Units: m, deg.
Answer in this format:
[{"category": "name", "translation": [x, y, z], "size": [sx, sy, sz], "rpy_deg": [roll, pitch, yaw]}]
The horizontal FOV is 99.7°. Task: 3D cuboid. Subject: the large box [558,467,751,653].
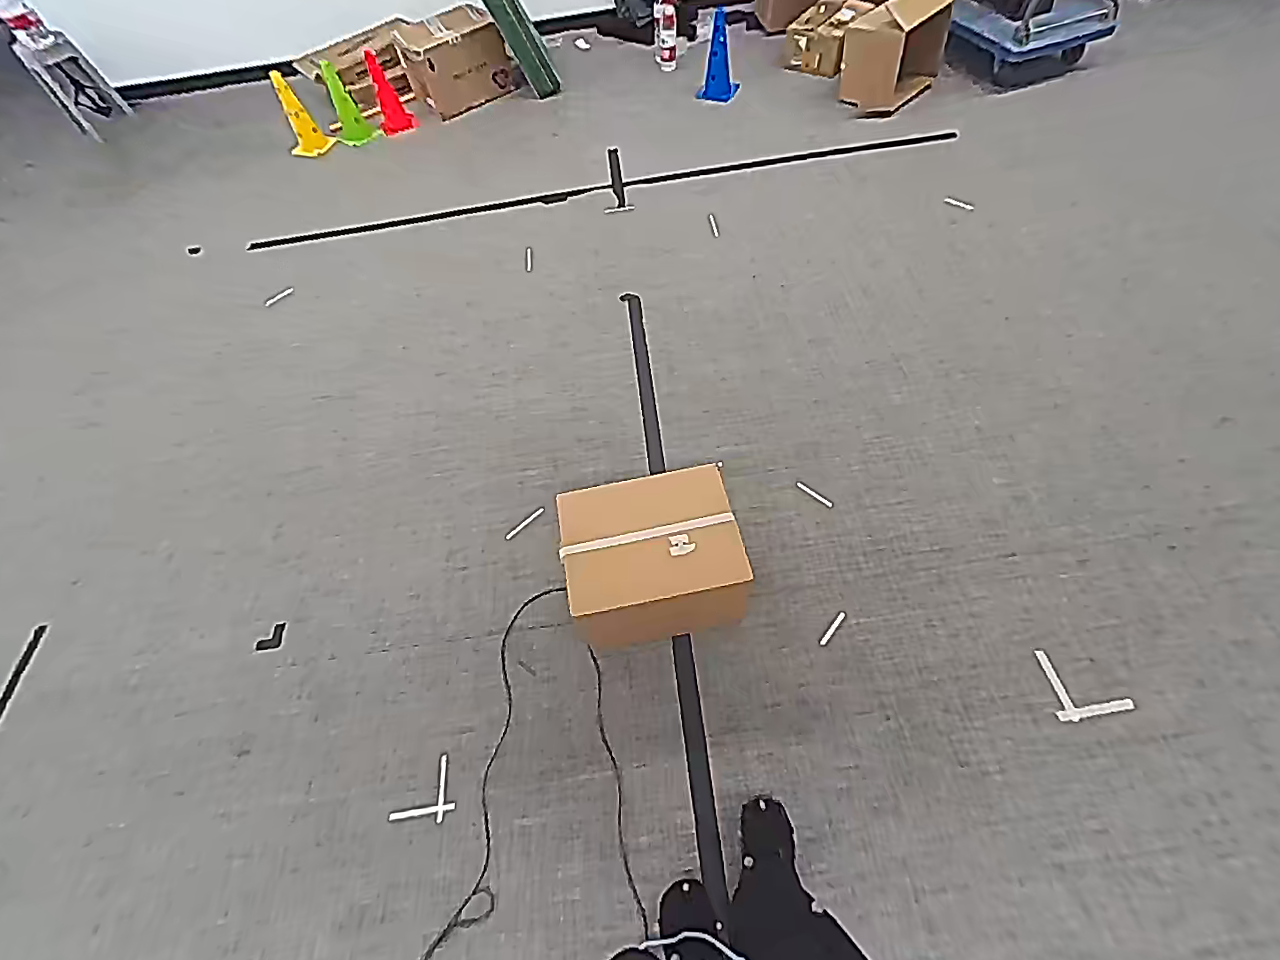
[{"category": "large box", "translation": [0.030, 0.210, 1.366], "size": [0.408, 0.320, 0.320], "rpy_deg": [-11, 59, -2]}]
